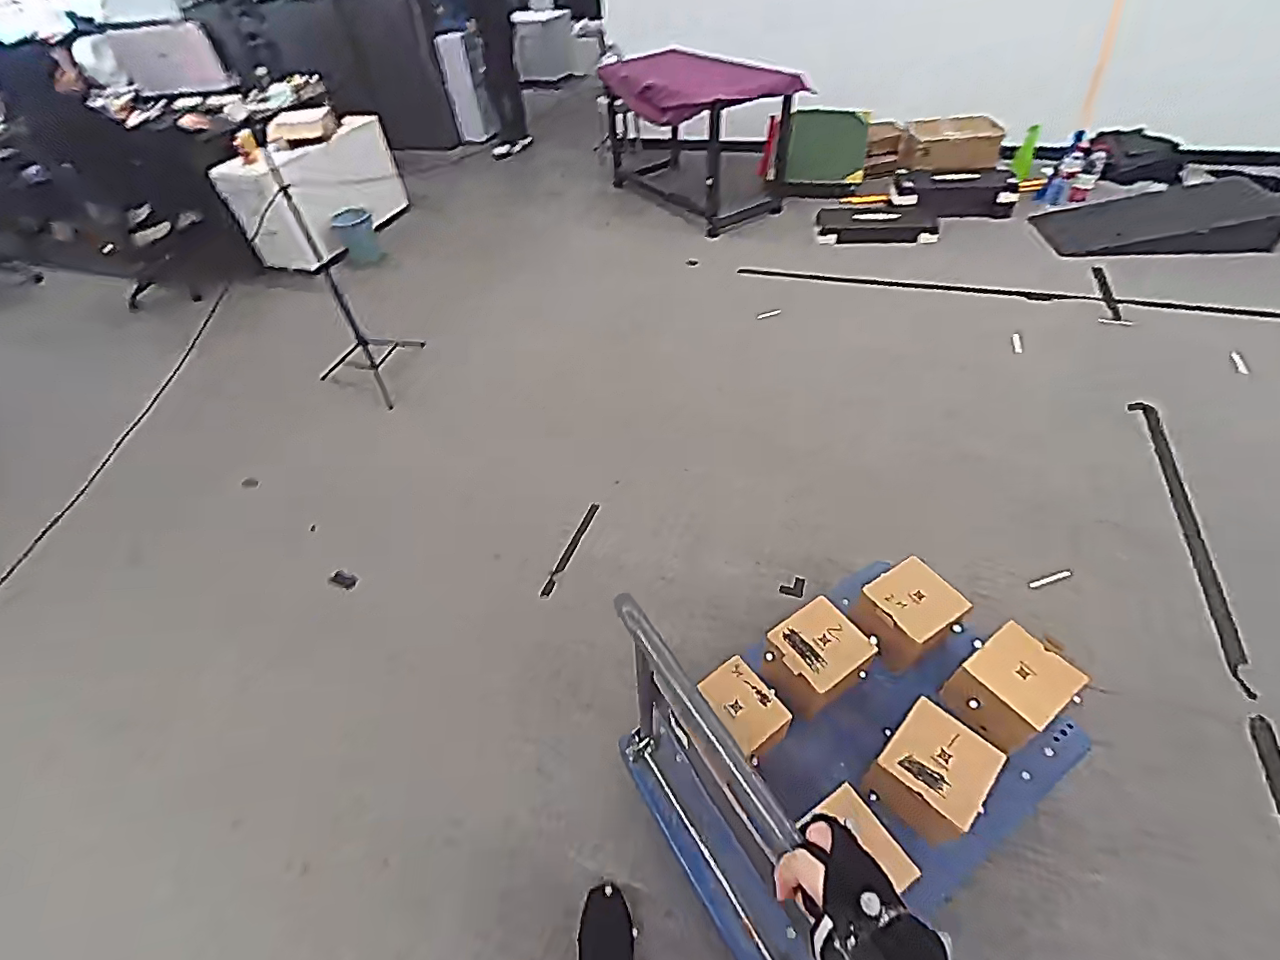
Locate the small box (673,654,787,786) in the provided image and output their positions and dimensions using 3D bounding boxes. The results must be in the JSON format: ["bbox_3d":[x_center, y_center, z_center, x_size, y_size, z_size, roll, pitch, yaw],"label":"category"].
[{"bbox_3d":[0.190,0.518,1.161,0.179,0.176,0.168,-30,52,-20],"label":"small box"}]

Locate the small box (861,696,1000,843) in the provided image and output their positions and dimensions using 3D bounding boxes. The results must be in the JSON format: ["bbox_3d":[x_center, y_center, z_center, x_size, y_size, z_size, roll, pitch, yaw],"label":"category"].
[{"bbox_3d":[0.562,0.576,1.072,0.179,0.176,0.168,-37,54,-26],"label":"small box"}]

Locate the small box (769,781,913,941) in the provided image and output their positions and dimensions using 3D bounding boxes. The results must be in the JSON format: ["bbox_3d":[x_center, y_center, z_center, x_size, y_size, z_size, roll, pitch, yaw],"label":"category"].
[{"bbox_3d":[0.351,0.696,0.984,0.179,0.176,0.168,-26,51,-18],"label":"small box"}]

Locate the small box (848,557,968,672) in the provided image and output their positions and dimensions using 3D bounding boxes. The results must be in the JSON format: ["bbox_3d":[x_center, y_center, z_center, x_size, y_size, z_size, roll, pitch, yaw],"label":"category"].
[{"bbox_3d":[0.629,0.324,1.294,0.179,0.176,0.168,-26,50,-17],"label":"small box"}]

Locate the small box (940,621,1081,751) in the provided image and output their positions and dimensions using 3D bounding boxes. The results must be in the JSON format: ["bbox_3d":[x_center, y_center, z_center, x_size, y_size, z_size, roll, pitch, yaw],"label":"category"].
[{"bbox_3d":[0.784,0.448,1.168,0.179,0.176,0.168,-29,51,-20],"label":"small box"}]
